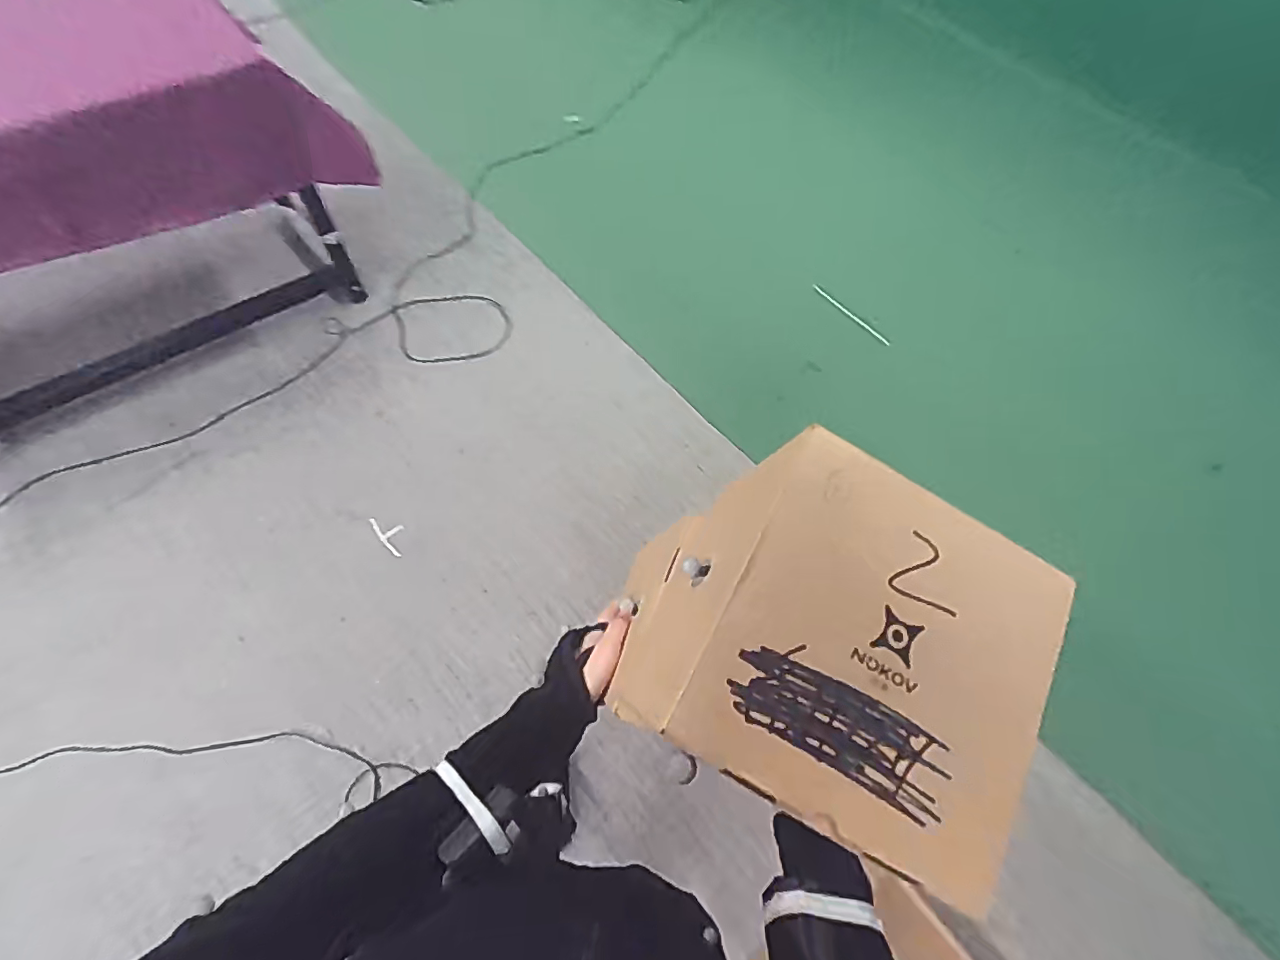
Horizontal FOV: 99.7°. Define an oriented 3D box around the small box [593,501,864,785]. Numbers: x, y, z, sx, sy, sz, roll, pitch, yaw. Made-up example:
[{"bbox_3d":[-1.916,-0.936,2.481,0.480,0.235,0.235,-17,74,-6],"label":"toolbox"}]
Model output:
[{"bbox_3d":[0.065,0.142,0.496,0.179,0.176,0.168,24,74,-2],"label":"small box"}]
